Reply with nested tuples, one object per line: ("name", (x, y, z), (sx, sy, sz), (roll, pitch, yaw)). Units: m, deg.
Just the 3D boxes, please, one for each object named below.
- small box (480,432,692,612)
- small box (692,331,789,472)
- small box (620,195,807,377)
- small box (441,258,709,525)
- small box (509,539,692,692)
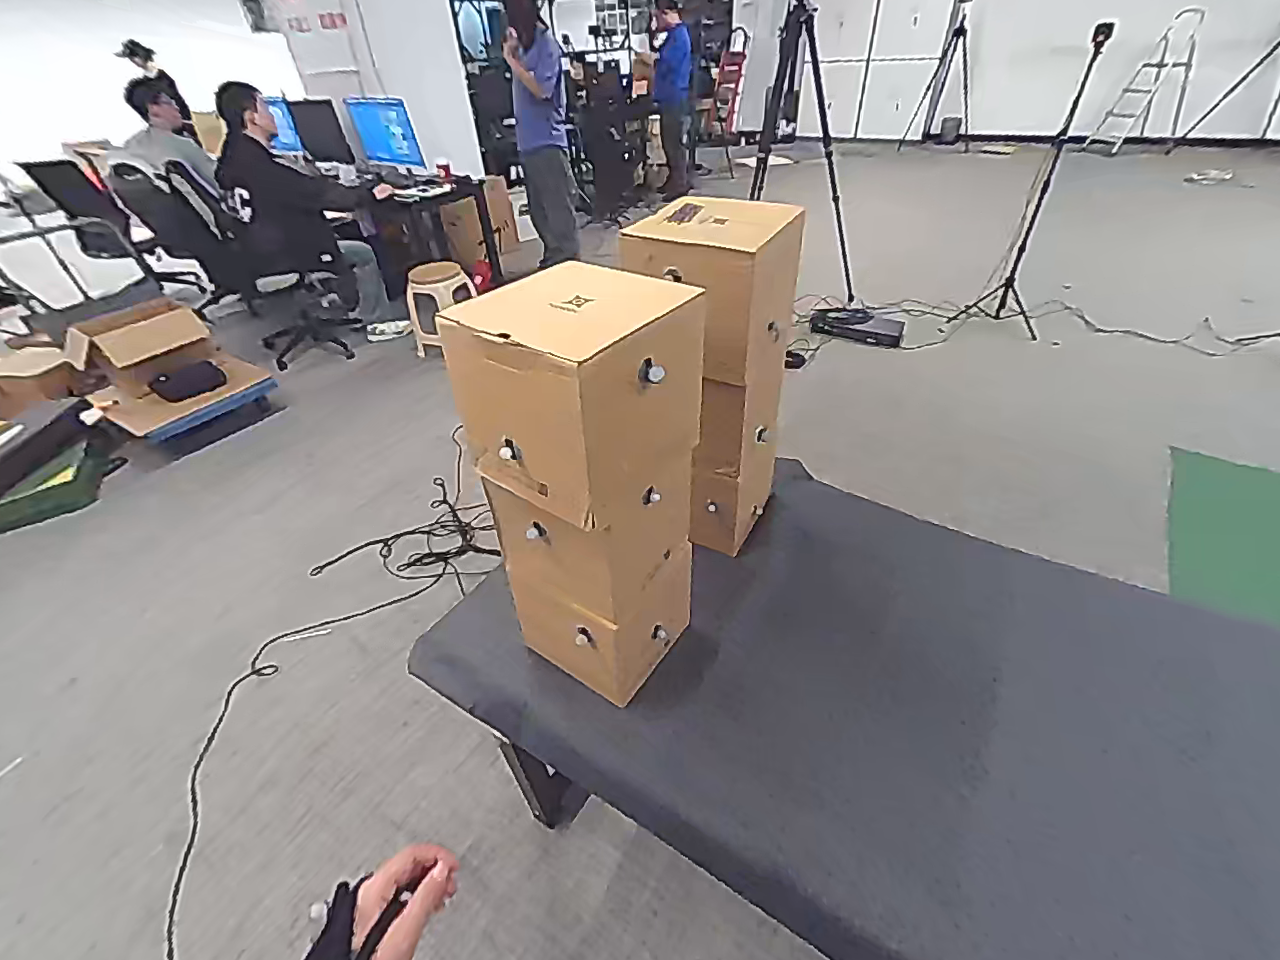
("small box", (-0.053, 0.024, 0.634), (0.179, 0.176, 0.168), (19, 44, 26))
("small box", (0.106, -0.135, 0.816), (0.179, 0.176, 0.168), (19, 48, 23))
("small box", (0.094, -0.253, 0.701), (0.179, 0.176, 0.168), (20, 48, 25))
("small box", (-0.053, -0.091, 0.517), (0.168, 0.176, 0.179), (24, 46, 28))
("small box", (-0.046, 0.155, 0.732), (0.179, 0.176, 0.168), (23, 44, 28))
